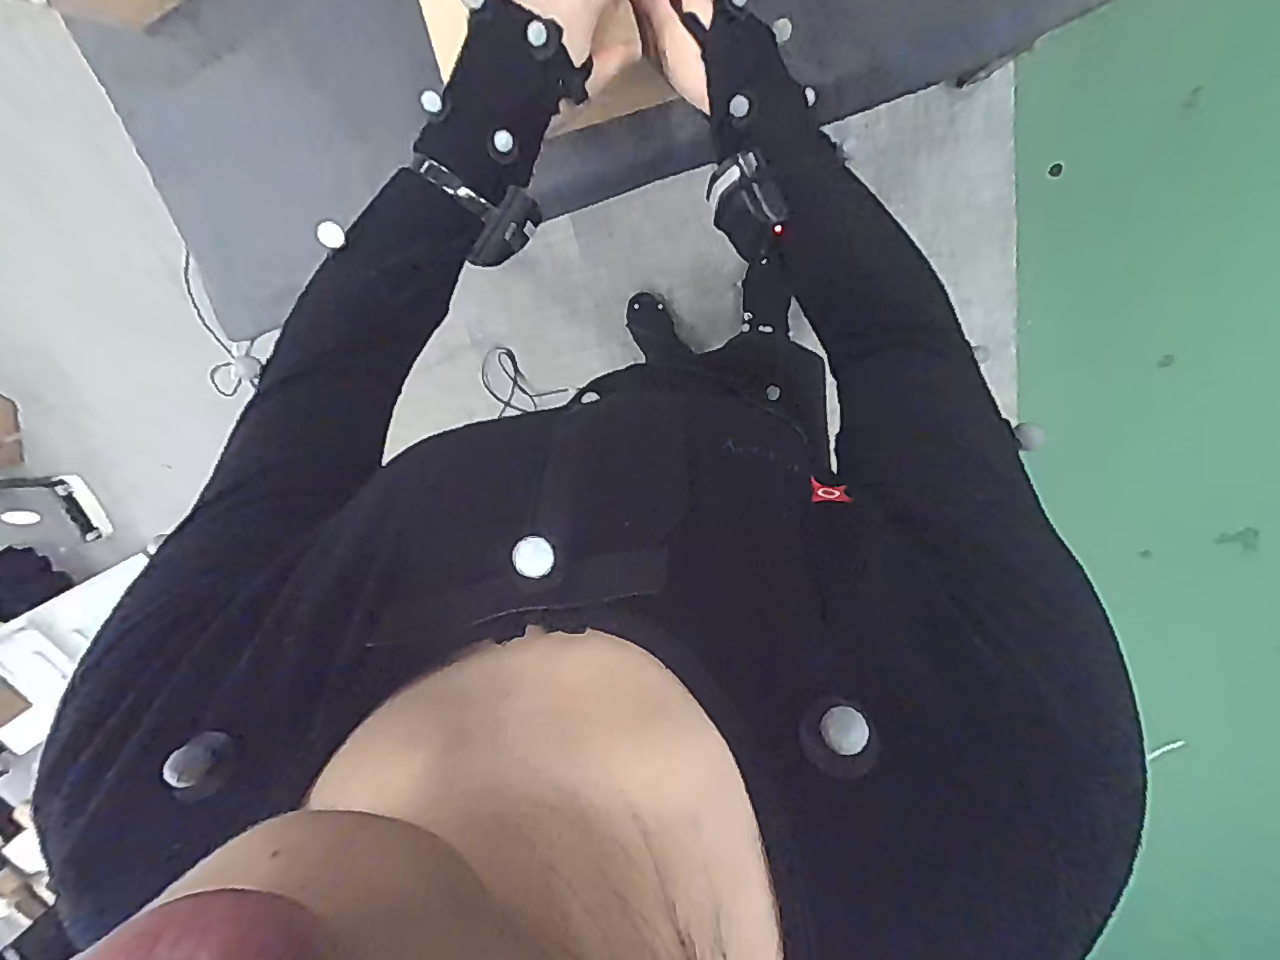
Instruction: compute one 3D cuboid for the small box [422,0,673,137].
[{"bbox_3d":[-0.074,-0.427,0.479,0.179,0.176,0.168,-5,113,18],"label":"small box"}]
